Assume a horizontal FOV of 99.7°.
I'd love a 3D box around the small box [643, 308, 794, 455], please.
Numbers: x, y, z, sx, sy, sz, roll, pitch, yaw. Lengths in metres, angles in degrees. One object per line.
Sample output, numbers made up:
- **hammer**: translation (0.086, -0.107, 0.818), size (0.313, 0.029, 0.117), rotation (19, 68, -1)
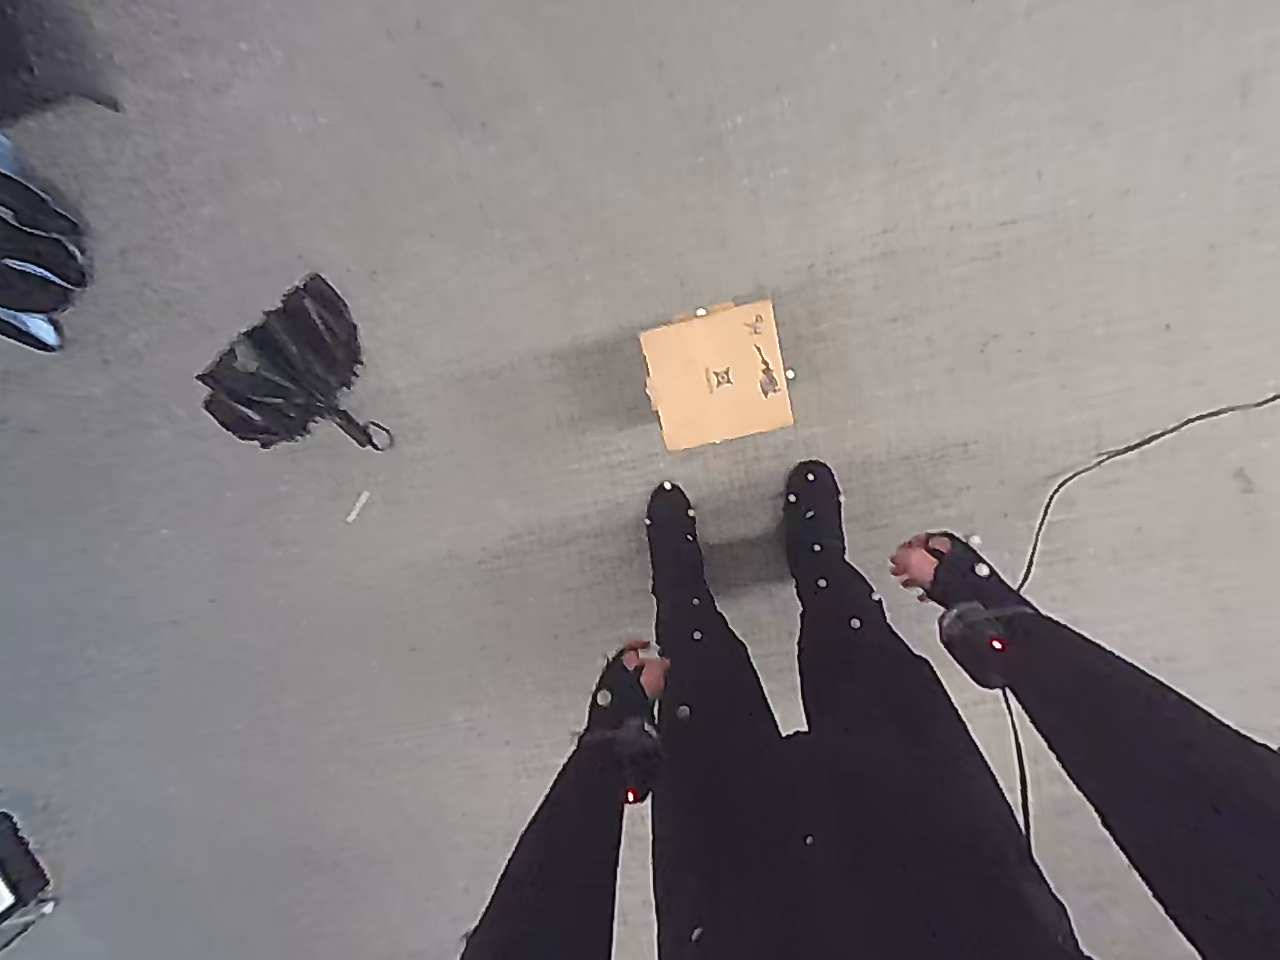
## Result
- **small box**: translation (0.115, -0.142, 0.786), size (0.179, 0.176, 0.168), rotation (-11, 101, 10)
